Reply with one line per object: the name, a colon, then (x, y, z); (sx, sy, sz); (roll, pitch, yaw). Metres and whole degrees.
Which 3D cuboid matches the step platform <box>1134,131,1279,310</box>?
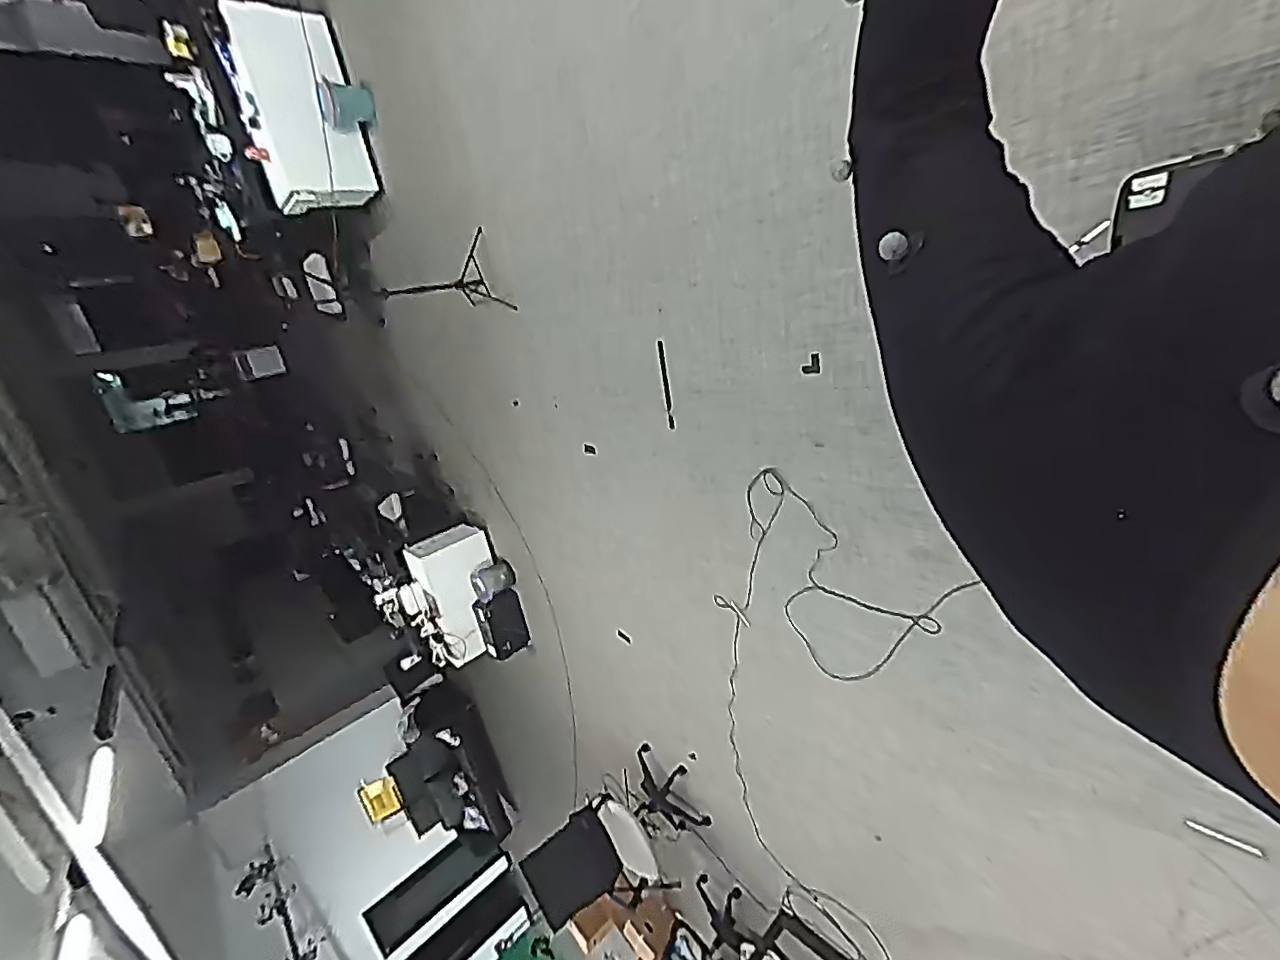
step platform: (1.261, -0.473, 0.875); (0.684, 0.204, 0.286); (6, 114, 48)
